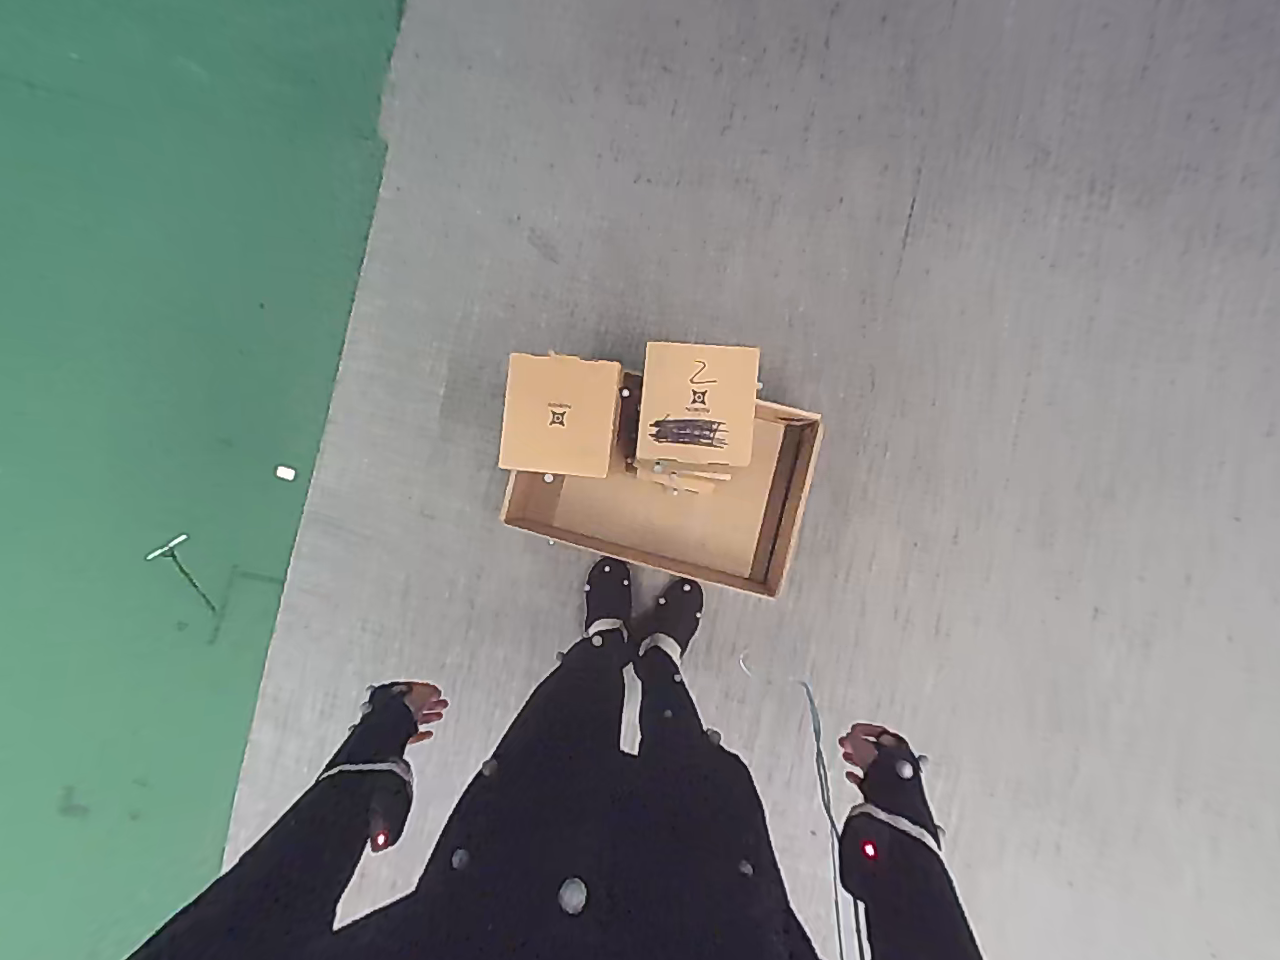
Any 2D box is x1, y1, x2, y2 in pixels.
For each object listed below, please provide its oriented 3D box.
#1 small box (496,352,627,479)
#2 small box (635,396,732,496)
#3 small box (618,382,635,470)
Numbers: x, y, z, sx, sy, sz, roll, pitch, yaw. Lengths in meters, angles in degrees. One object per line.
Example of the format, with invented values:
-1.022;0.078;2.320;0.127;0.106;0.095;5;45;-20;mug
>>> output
-0.117;-0.095;0.876;0.168;0.176;0.179;7;89;5;small box
0.098;-0.068;1.183;0.168;0.176;0.179;14;90;8;small box
-0.111;-0.107;1.039;0.179;0.176;0.168;10;90;6;small box
